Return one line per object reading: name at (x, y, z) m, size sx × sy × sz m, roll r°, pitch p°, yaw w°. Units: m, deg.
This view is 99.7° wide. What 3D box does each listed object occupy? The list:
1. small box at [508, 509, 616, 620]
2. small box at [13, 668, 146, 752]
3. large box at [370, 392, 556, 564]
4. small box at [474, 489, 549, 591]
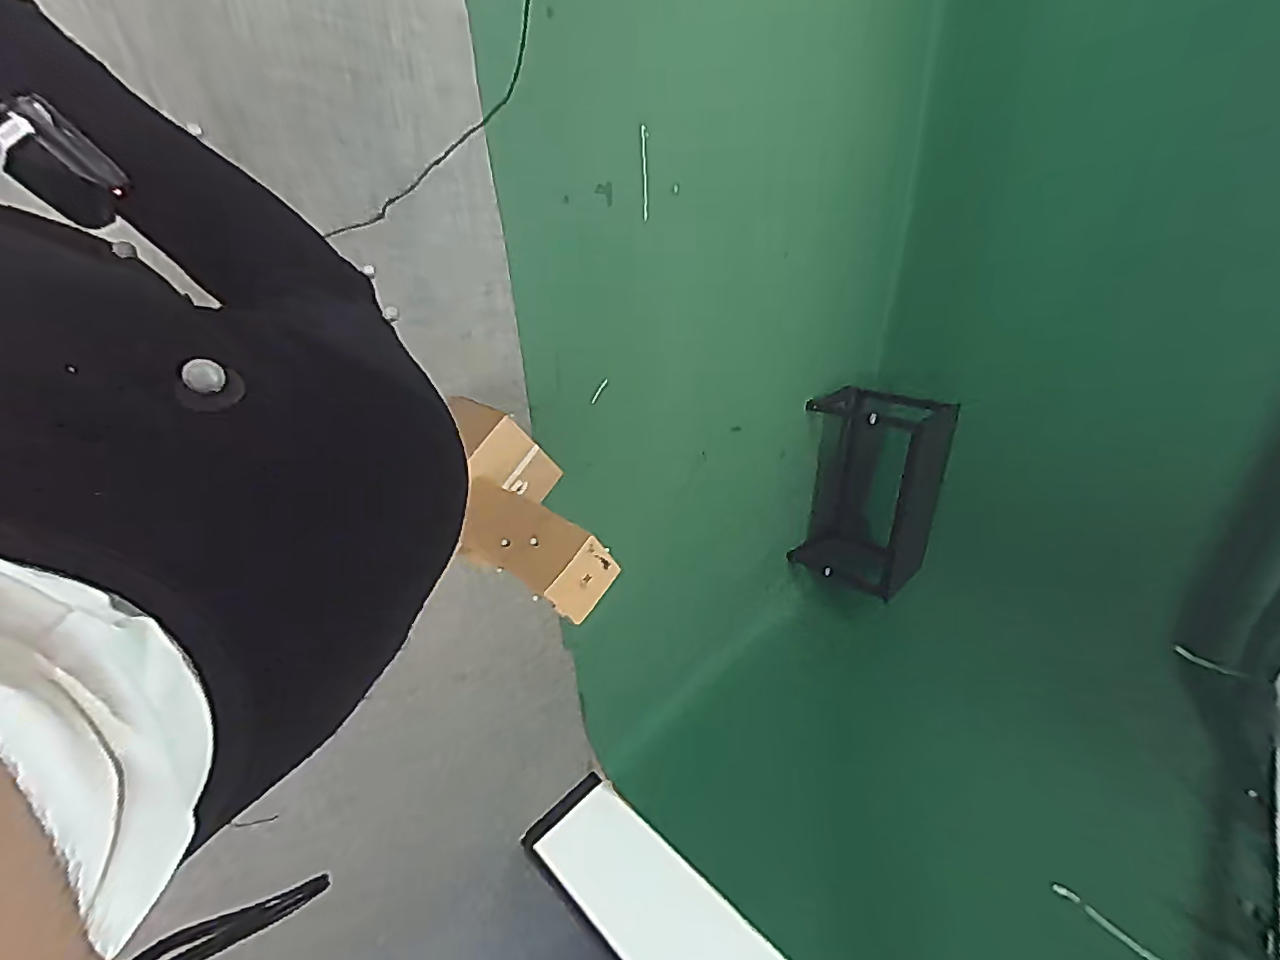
small box at (-0.196, 0.201, 1.318) m, size 0.179 × 0.176 × 0.168 m, roll -50°, pitch 137°, yaw -18°
small box at (-1.053, 0.490, 1.022) m, size 0.168 × 0.176 × 0.179 m, roll -2°, pitch 107°, yaw -47°
large box at (-0.556, -0.012, 1.718) m, size 0.408 × 0.320 × 0.320 m, roll -55°, pitch 140°, yaw -16°
small box at (-0.310, 0.155, 1.427) m, size 0.179 × 0.176 × 0.168 m, roll -51°, pitch 138°, yaw -19°
